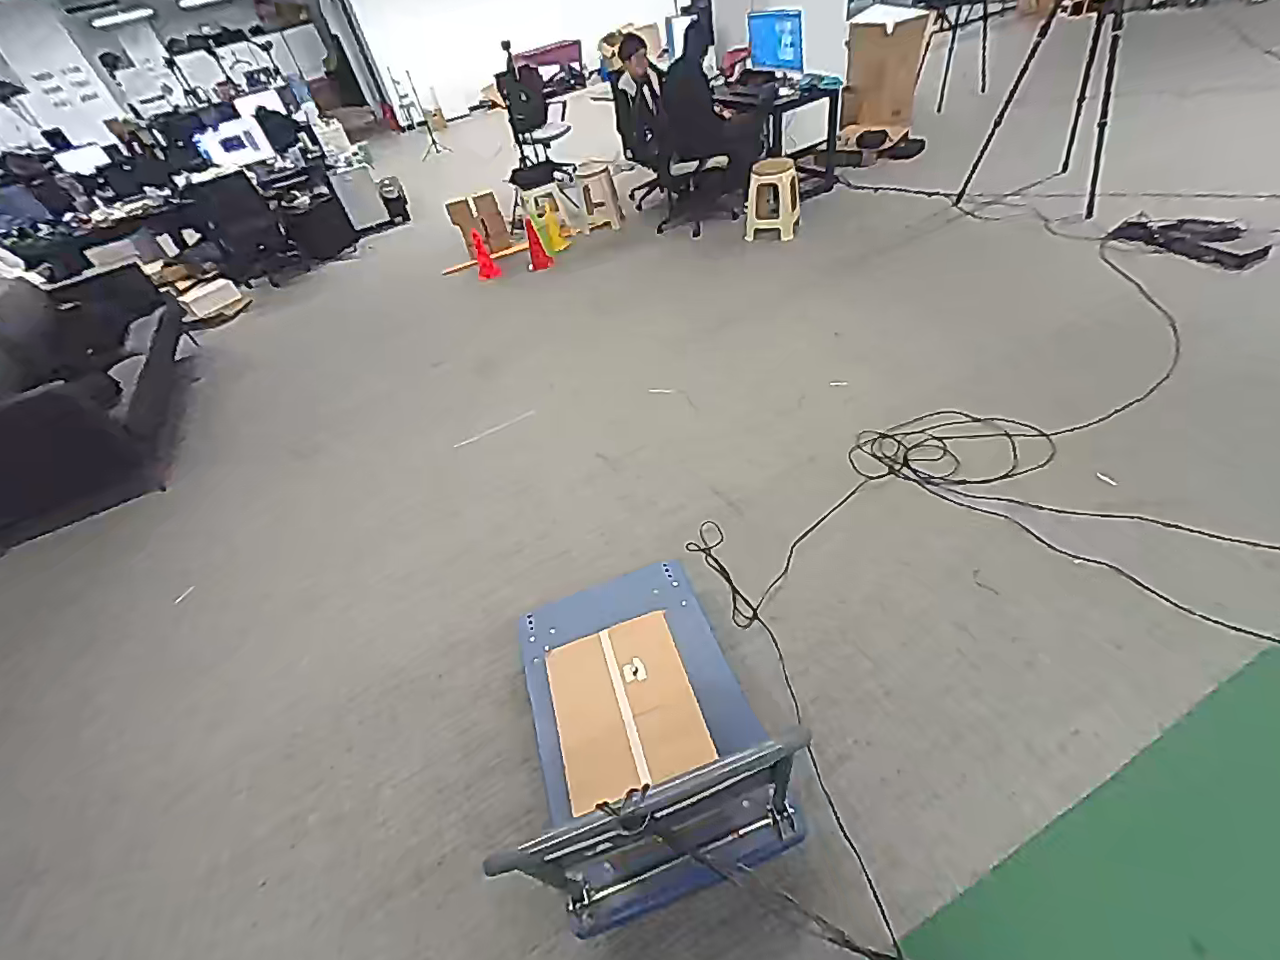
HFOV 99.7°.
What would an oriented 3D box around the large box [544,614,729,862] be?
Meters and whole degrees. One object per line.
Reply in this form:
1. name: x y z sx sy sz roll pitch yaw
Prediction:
1. large box: -0.011 0.617 1.316 0.320 0.320 0.408 -18 42 -6
